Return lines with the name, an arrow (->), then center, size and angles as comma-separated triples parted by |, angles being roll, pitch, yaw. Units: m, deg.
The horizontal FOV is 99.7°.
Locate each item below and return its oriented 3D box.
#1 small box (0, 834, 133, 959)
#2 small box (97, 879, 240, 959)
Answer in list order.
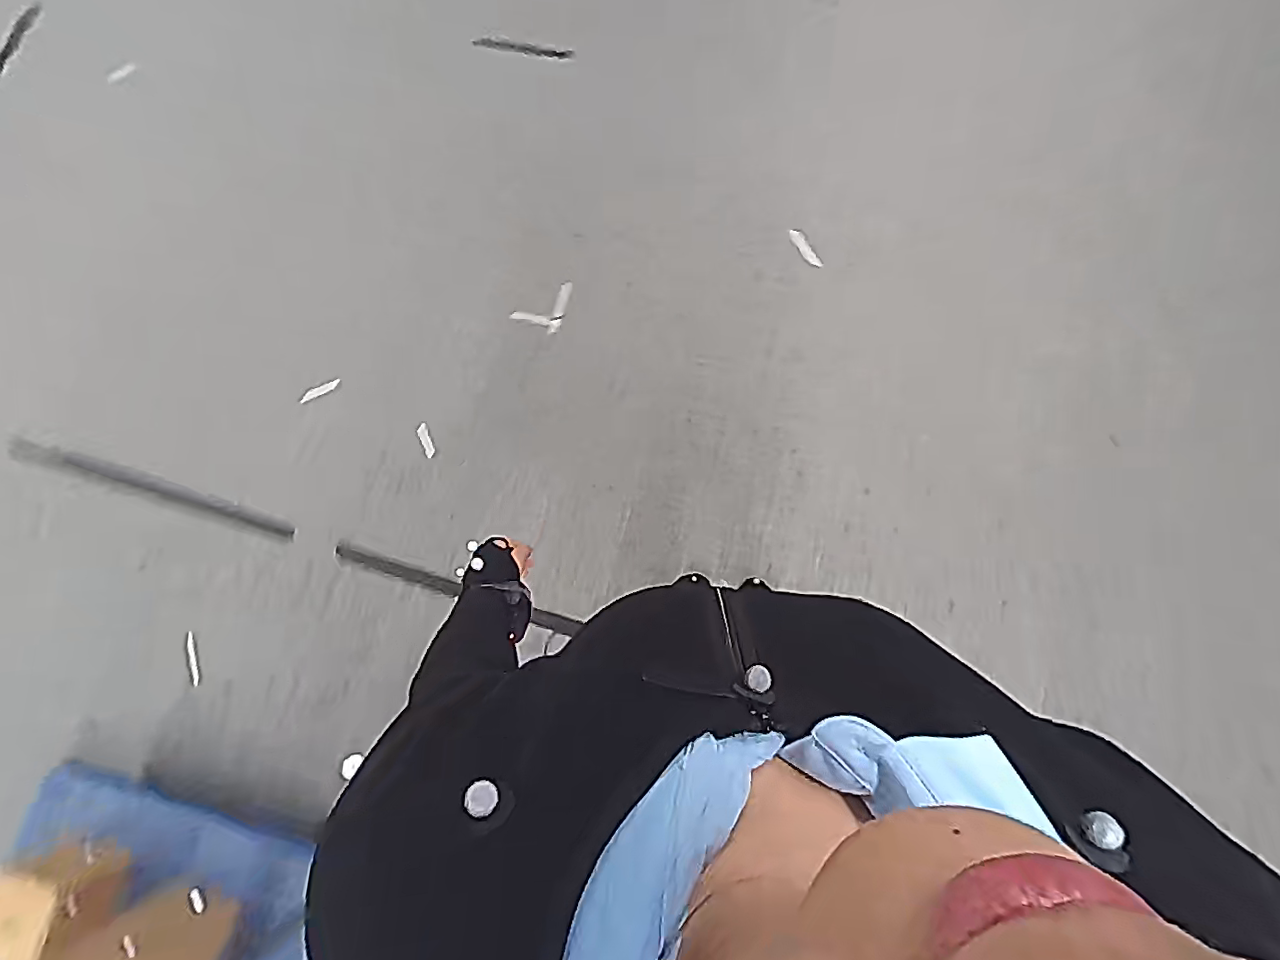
small box -> -1.292, 0.929, 1.194 | 0.168, 0.176, 0.179 | 12, 79, 6
small box -> -1.013, 1.014, 1.156 | 0.168, 0.176, 0.179 | 18, 80, 6
